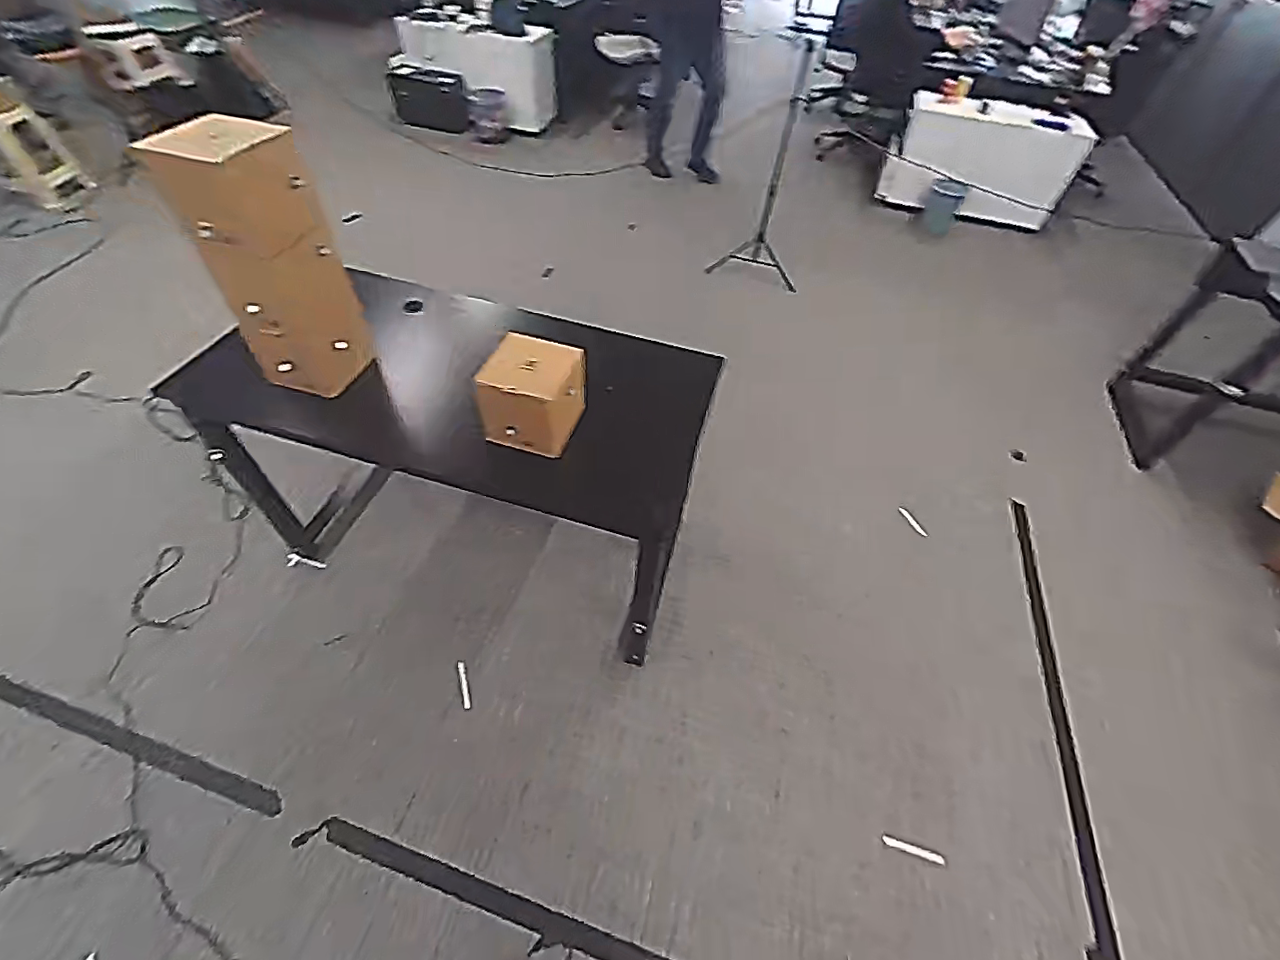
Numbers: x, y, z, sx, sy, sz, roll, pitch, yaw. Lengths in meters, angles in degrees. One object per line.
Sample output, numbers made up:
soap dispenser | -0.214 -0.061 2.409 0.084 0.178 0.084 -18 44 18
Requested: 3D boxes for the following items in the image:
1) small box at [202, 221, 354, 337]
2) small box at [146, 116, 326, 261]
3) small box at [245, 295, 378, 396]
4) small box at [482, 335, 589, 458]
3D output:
small box | -0.718 -0.423 1.105 0.168 0.176 0.179 14 51 8
small box | -0.707 -0.526 0.979 0.168 0.176 0.179 14 51 8
small box | -0.730 -0.317 1.230 0.168 0.176 0.179 14 51 7
small box | -0.216 -0.179 1.161 0.168 0.176 0.179 15 51 8
